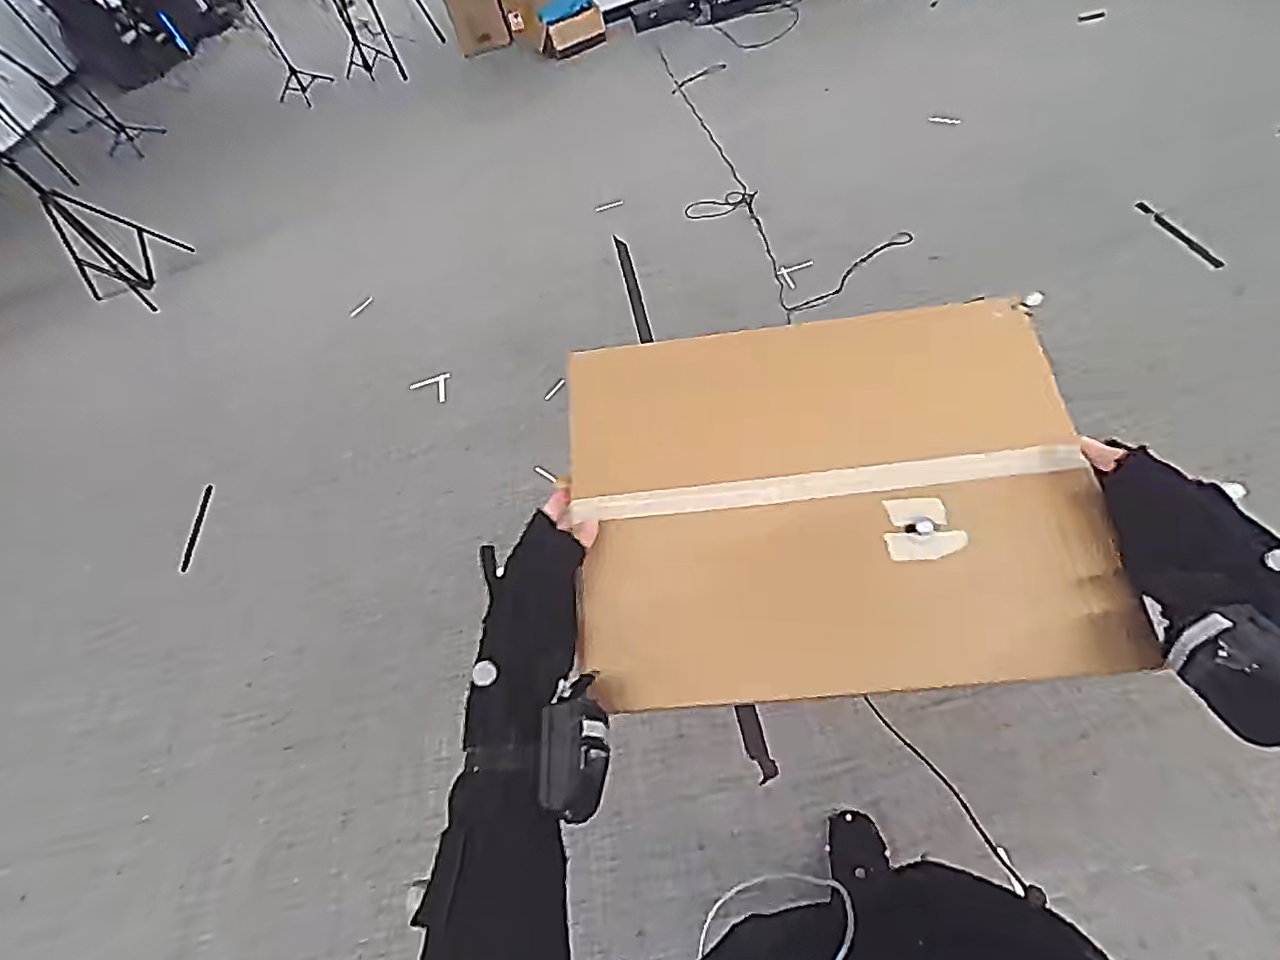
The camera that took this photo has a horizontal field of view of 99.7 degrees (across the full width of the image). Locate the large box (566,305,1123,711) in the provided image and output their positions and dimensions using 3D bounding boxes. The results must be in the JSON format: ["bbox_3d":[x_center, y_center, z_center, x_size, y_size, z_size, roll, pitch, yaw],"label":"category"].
[{"bbox_3d":[0.154,0.059,0.593,0.408,0.320,0.320,-7,70,3],"label":"large box"}]
